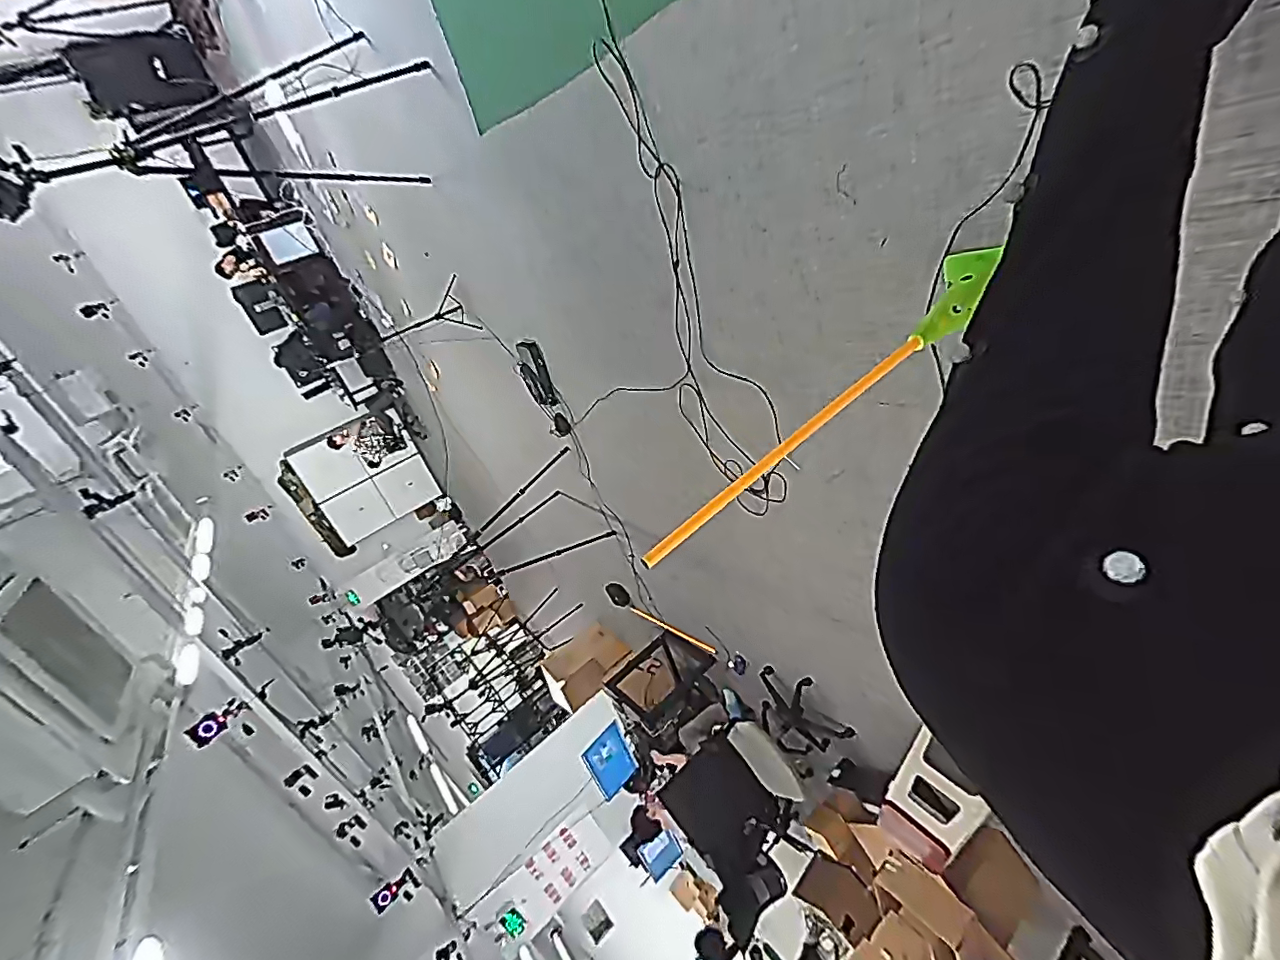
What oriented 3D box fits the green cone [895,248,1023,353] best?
[{"bbox_3d":[0.762,-0.413,1.352,0.202,0.368,0.200,16,134,55],"label":"green cone"}]
